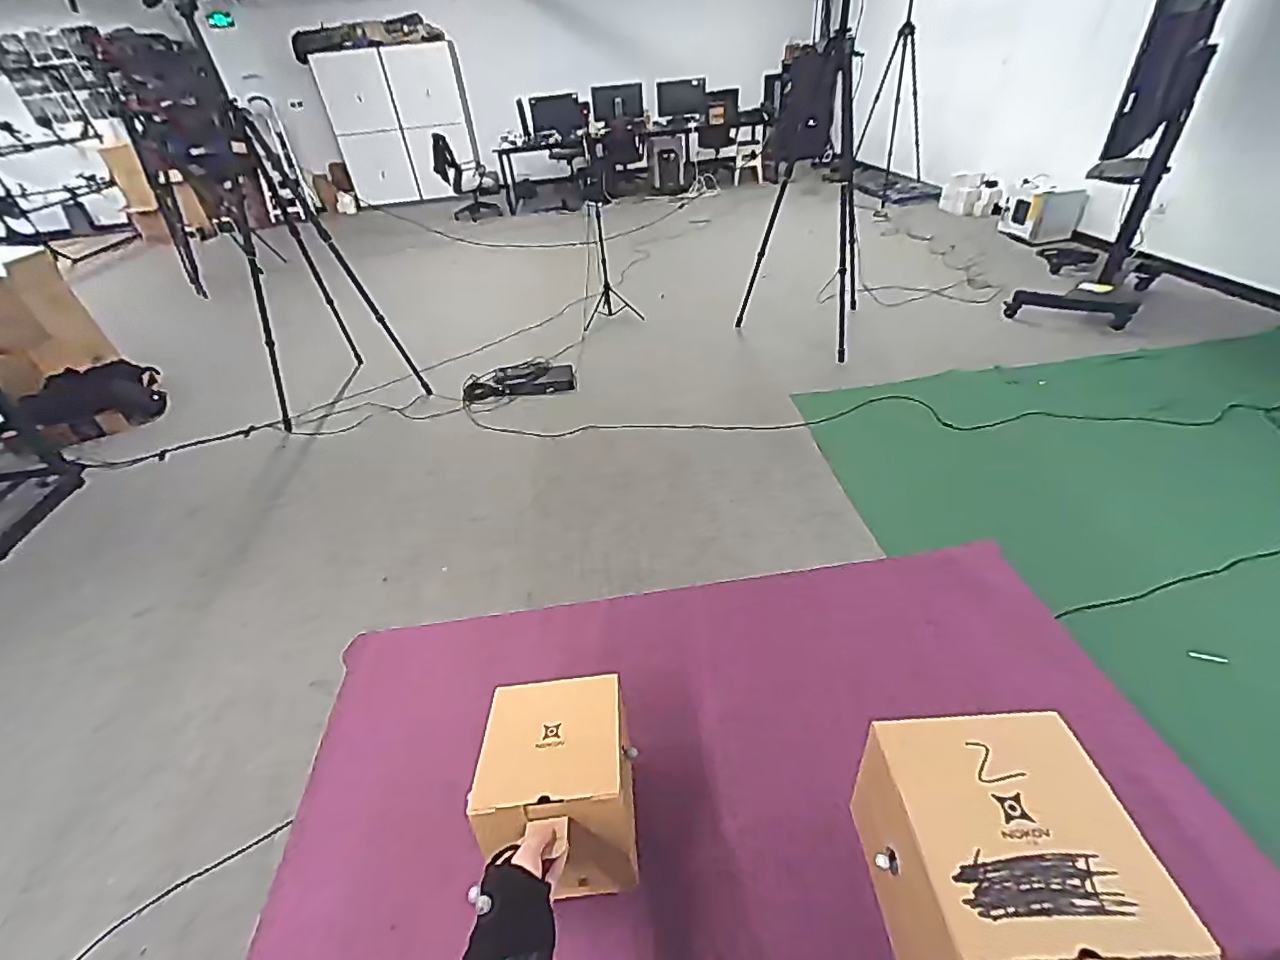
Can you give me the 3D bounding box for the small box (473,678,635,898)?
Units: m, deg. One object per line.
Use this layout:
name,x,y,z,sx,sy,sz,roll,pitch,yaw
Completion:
small box,-0.098,0.386,0.693,0.168,0.176,0.179,-7,26,0
